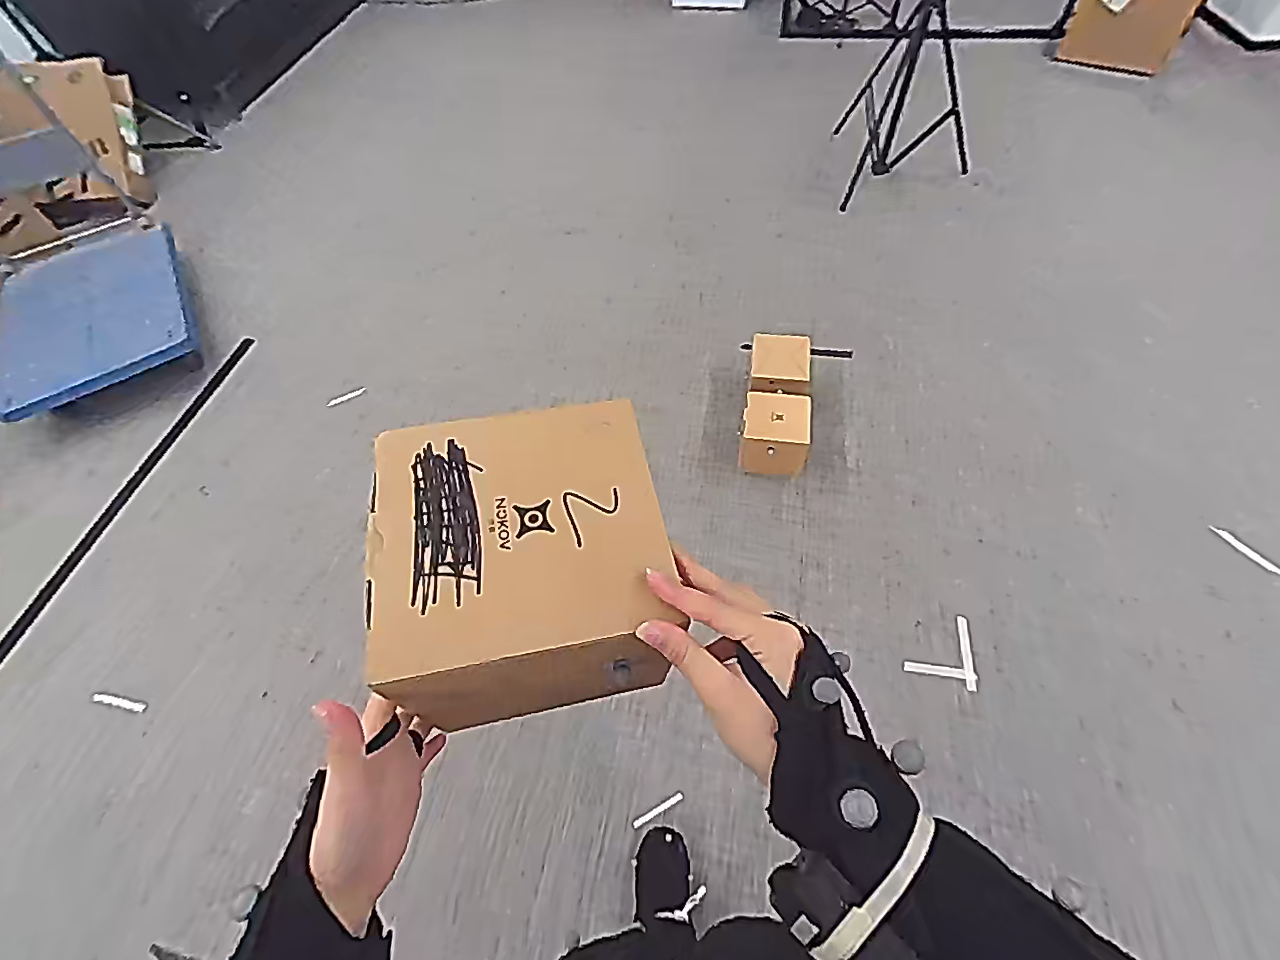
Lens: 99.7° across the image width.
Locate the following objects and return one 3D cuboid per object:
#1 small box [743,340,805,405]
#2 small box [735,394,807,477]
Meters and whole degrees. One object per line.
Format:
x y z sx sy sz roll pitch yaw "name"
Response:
0.409 -0.314 1.657 0.168 0.176 0.179 5 59 8 "small box"
0.373 -0.122 1.547 0.179 0.176 0.168 6 59 9 "small box"
